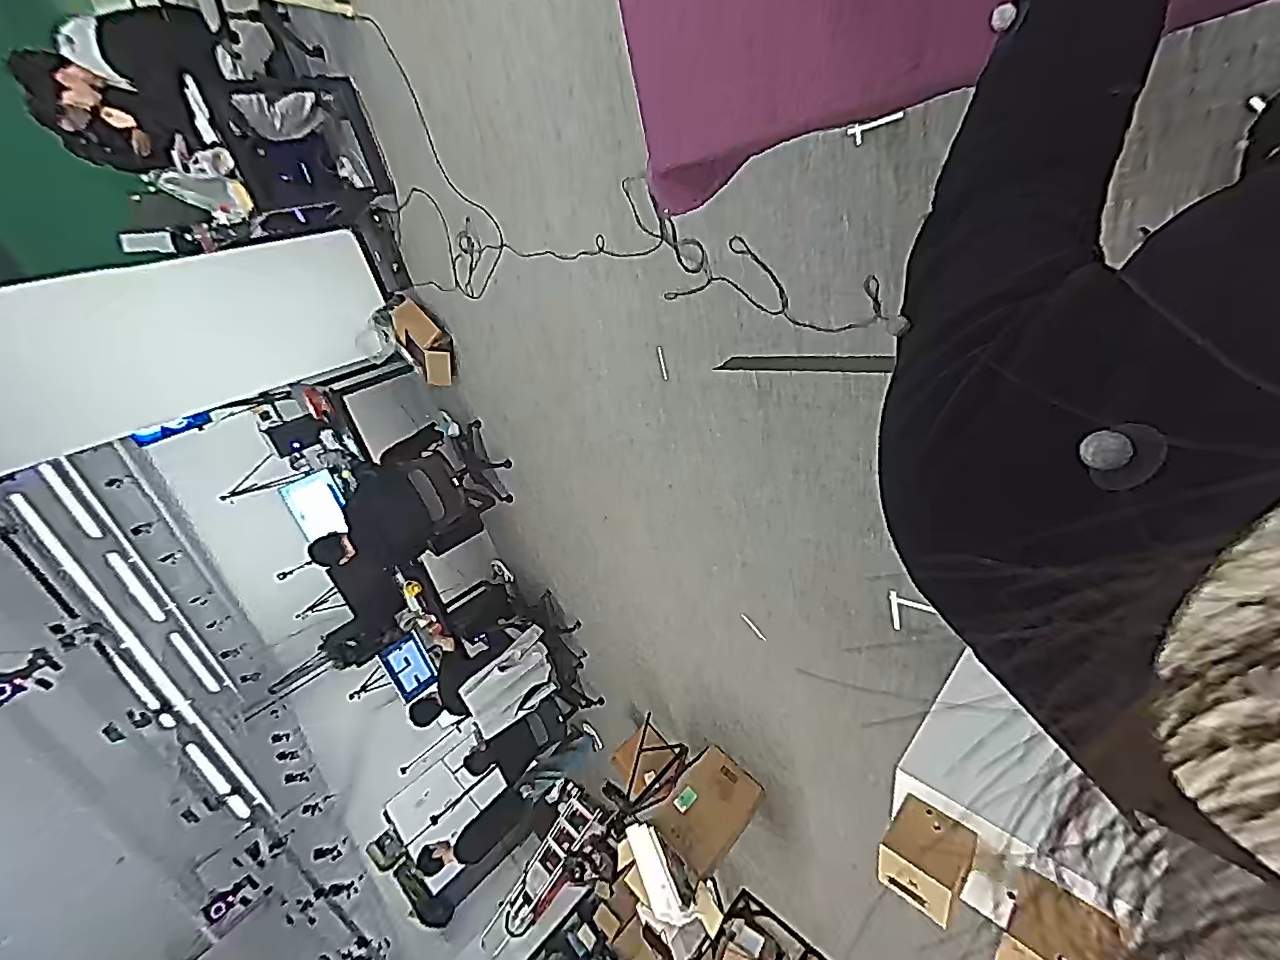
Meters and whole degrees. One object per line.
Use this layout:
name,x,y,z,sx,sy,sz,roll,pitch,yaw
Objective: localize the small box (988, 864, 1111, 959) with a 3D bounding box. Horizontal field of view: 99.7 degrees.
small box,0.895,1.005,1.184,0.168,0.176,0.179,20,133,42
